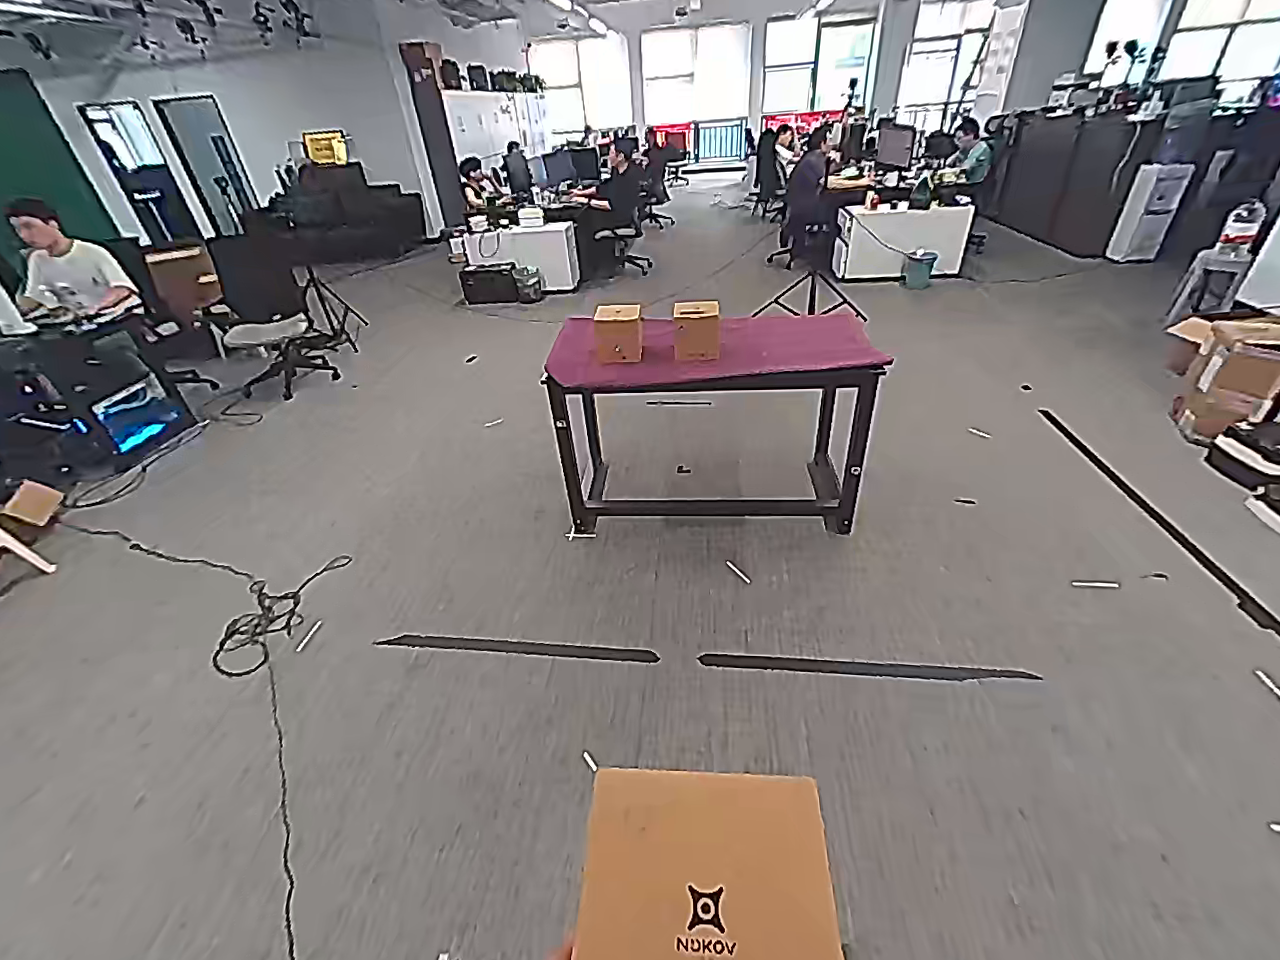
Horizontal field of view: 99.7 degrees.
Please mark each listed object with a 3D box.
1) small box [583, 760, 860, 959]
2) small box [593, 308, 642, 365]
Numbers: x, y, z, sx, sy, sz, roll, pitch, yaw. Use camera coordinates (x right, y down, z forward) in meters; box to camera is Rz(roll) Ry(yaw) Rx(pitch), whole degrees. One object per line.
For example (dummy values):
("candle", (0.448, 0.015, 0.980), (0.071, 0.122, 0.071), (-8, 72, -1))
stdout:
("small box", (0.053, 0.329, 0.386), (0.168, 0.176, 0.179), (0, 40, 5))
("small box", (-0.081, -0.550, 2.069), (0.168, 0.176, 0.179), (-1, 35, 4))
